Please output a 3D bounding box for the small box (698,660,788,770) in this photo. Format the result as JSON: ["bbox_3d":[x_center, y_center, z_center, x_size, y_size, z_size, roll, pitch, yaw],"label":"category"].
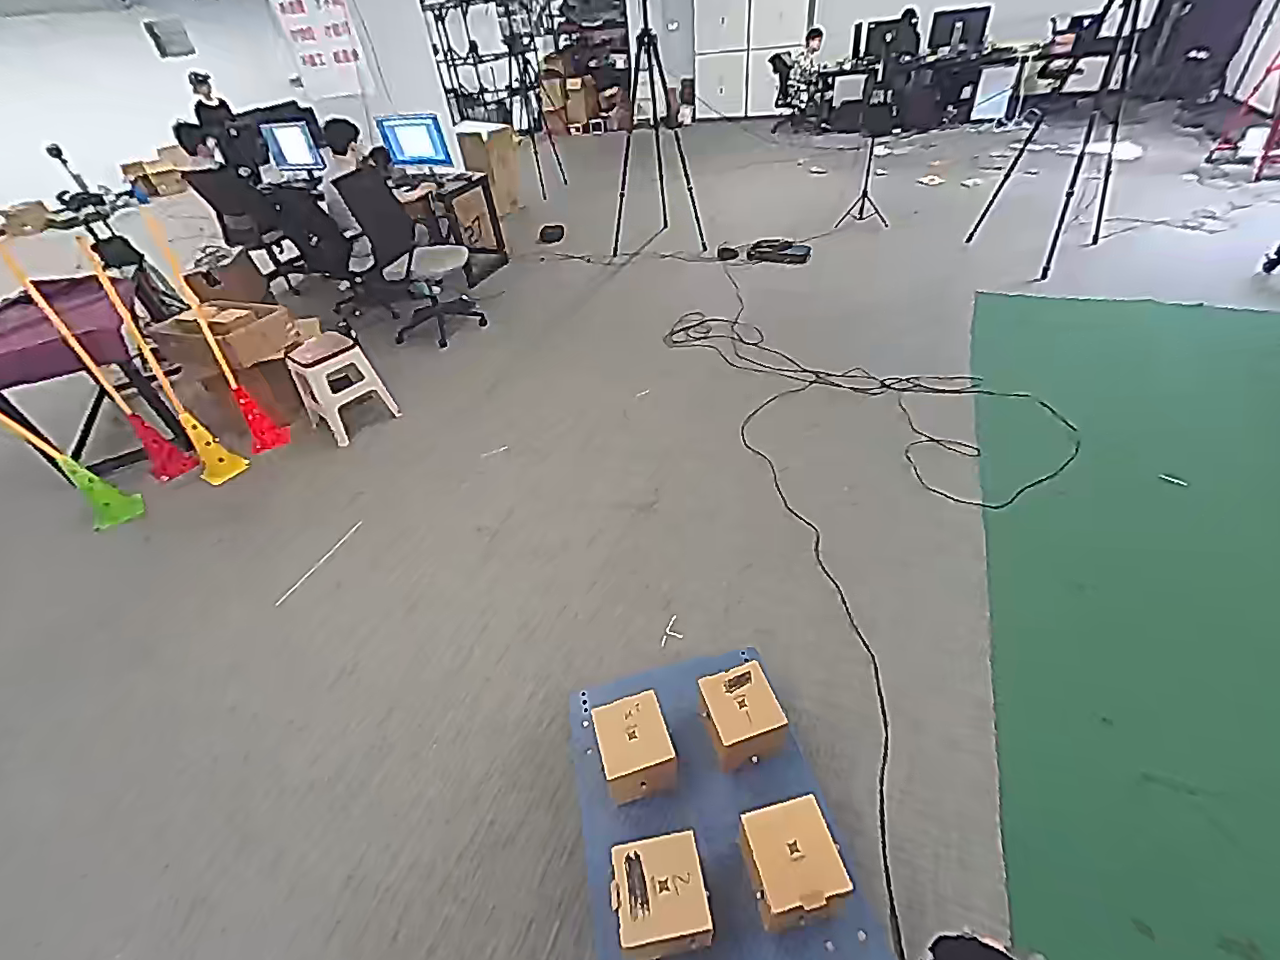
[{"bbox_3d":[0.252,0.595,1.367,0.168,0.176,0.179,-15,43,-9],"label":"small box"}]

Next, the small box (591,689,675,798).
[{"bbox_3d":[-0.015,0.655,1.333,0.168,0.176,0.179,-14,42,-10],"label":"small box"}]

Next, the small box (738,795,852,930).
[{"bbox_3d":[0.312,0.799,1.132,0.168,0.176,0.179,-12,42,-7],"label":"small box"}]
